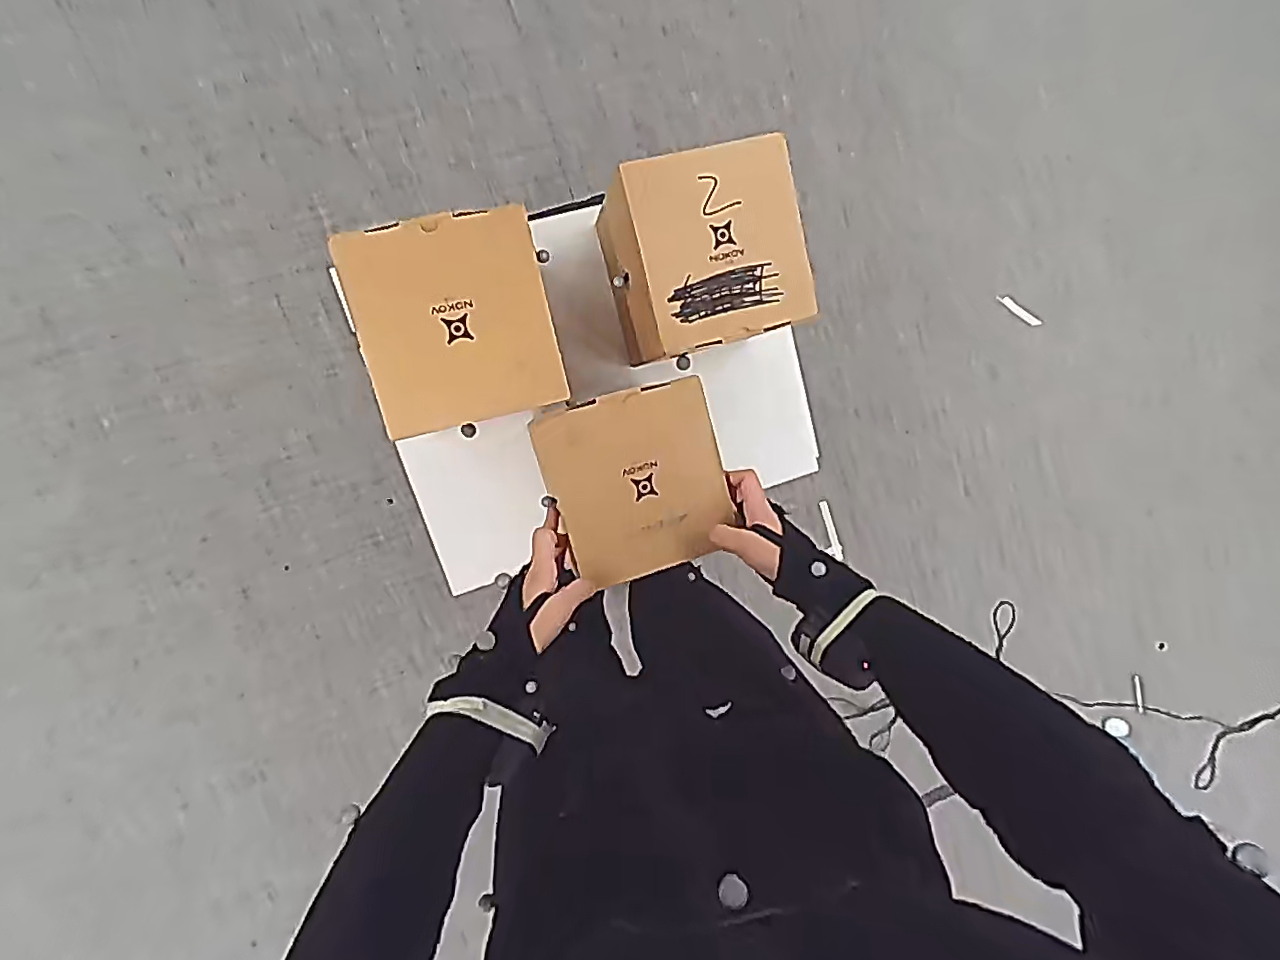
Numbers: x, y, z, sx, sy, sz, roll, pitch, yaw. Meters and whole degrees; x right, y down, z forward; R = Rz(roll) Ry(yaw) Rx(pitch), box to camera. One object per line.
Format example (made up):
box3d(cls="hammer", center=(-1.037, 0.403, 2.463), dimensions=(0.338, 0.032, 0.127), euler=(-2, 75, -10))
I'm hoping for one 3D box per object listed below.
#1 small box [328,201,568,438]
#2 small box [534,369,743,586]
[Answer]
box3d(cls="small box", center=(-0.175, -0.151, 0.546), dimensions=(0.168, 0.176, 0.179), euler=(-15, 101, -10))
box3d(cls="small box", center=(-0.013, -0.008, 0.592), dimensions=(0.168, 0.176, 0.179), euler=(-17, 98, -12))
